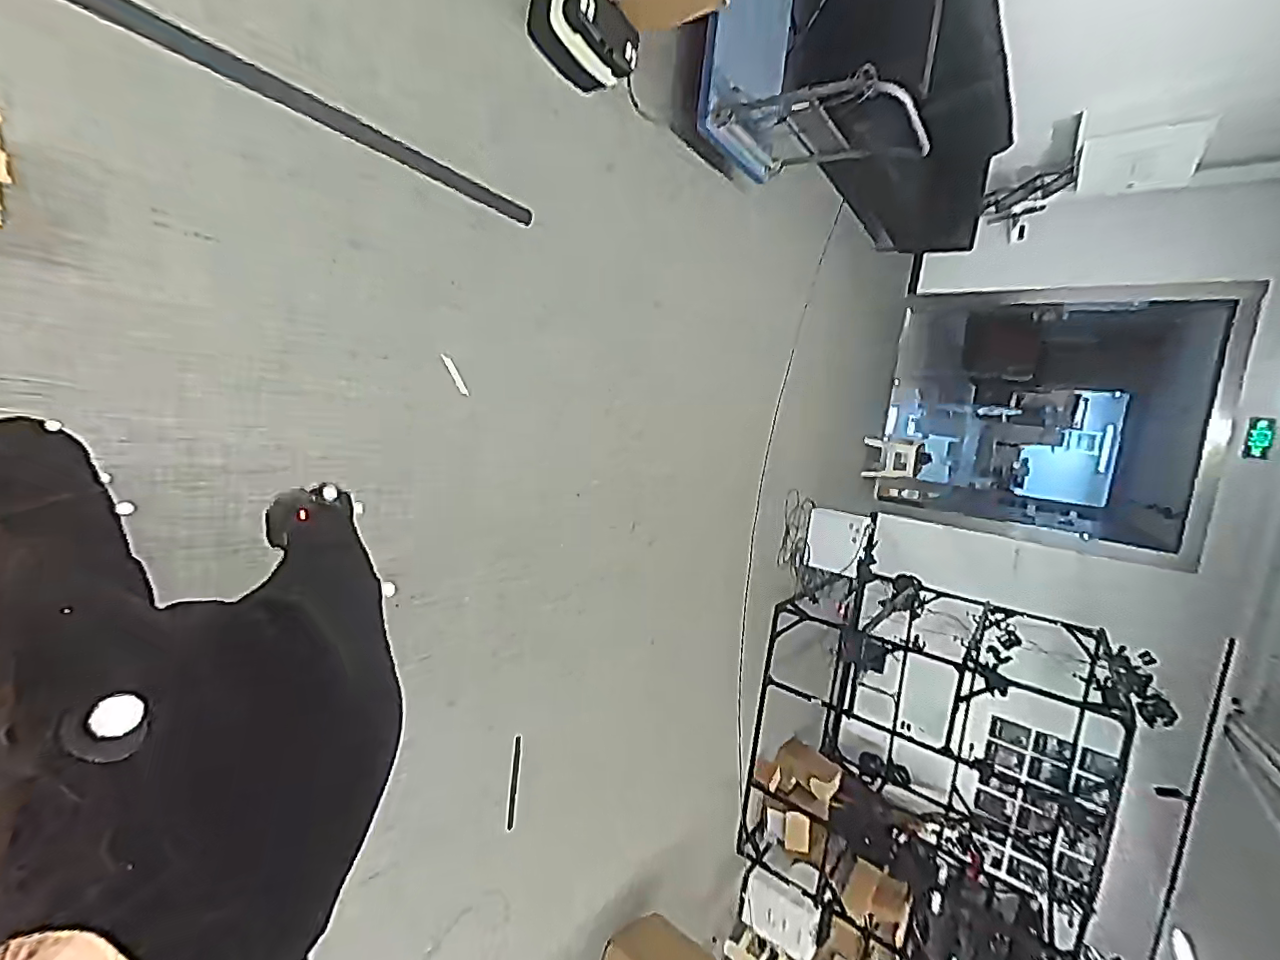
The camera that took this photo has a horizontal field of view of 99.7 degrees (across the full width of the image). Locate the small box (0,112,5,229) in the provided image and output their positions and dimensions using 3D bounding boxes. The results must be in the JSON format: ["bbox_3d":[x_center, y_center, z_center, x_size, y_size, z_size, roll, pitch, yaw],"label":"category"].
[{"bbox_3d":[-1.012,-0.449,0.736,0.179,0.176,0.168,0,99,-55],"label":"small box"}]
